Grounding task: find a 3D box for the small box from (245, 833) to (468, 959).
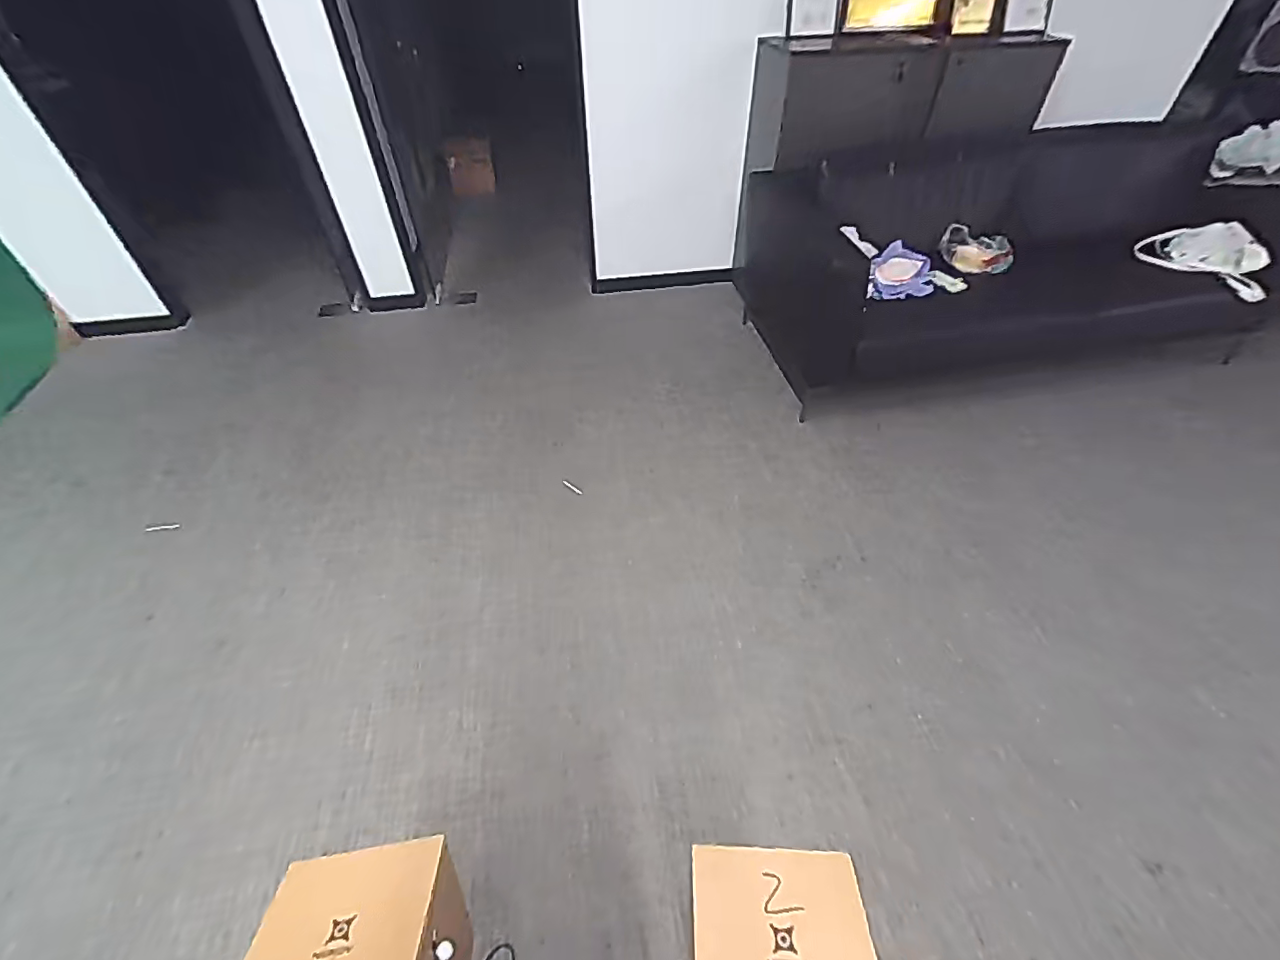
[{"bbox_3d":[-0.282,0.510,0.549,0.168,0.176,0.179,-7,19,-5],"label":"small box"}]
